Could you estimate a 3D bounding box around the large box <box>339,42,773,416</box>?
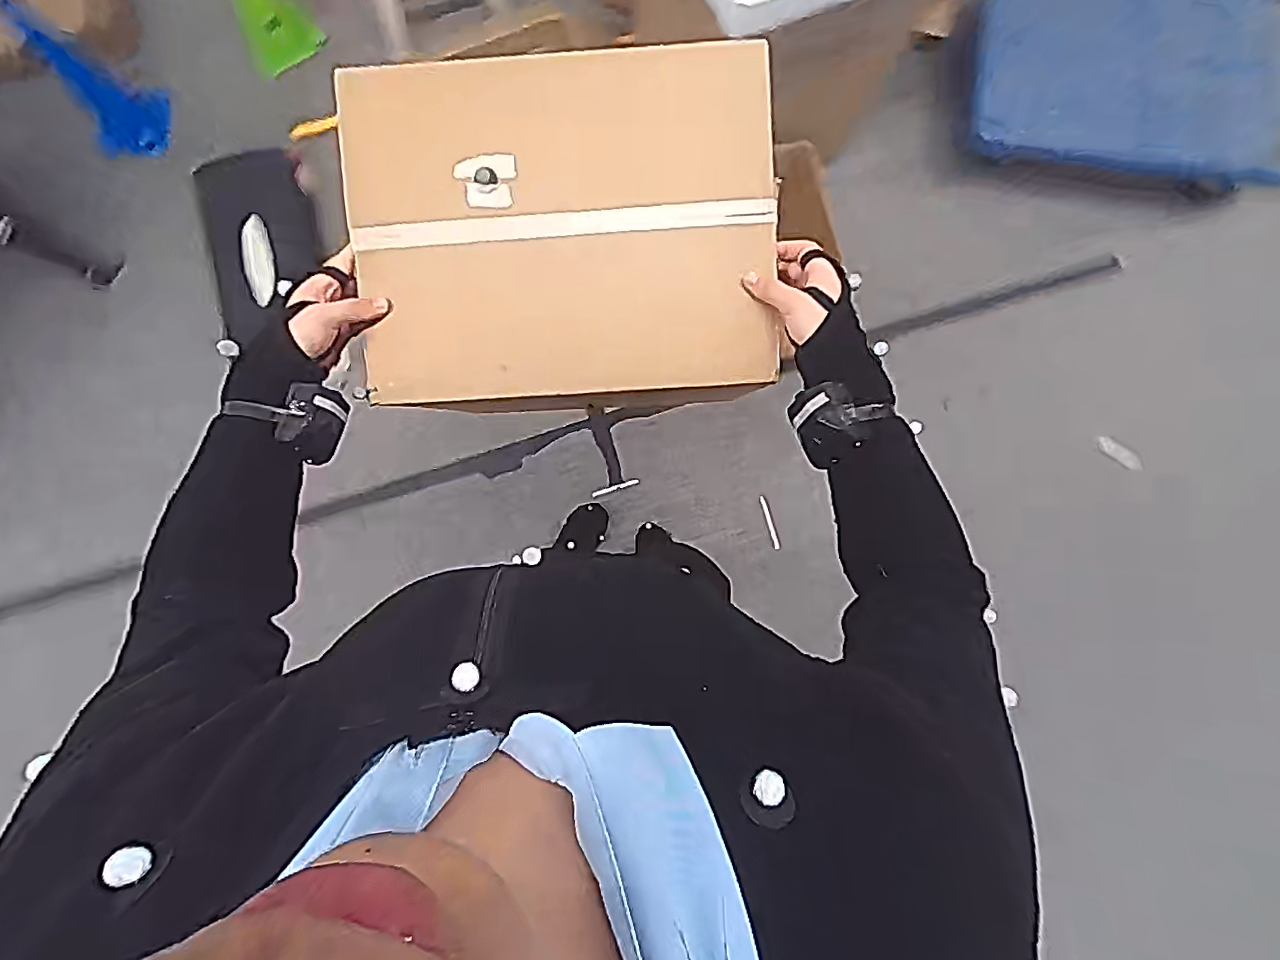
[{"bbox_3d":[-0.074,-0.254,0.673,0.408,0.320,0.320,-5,94,2],"label":"large box"}]
